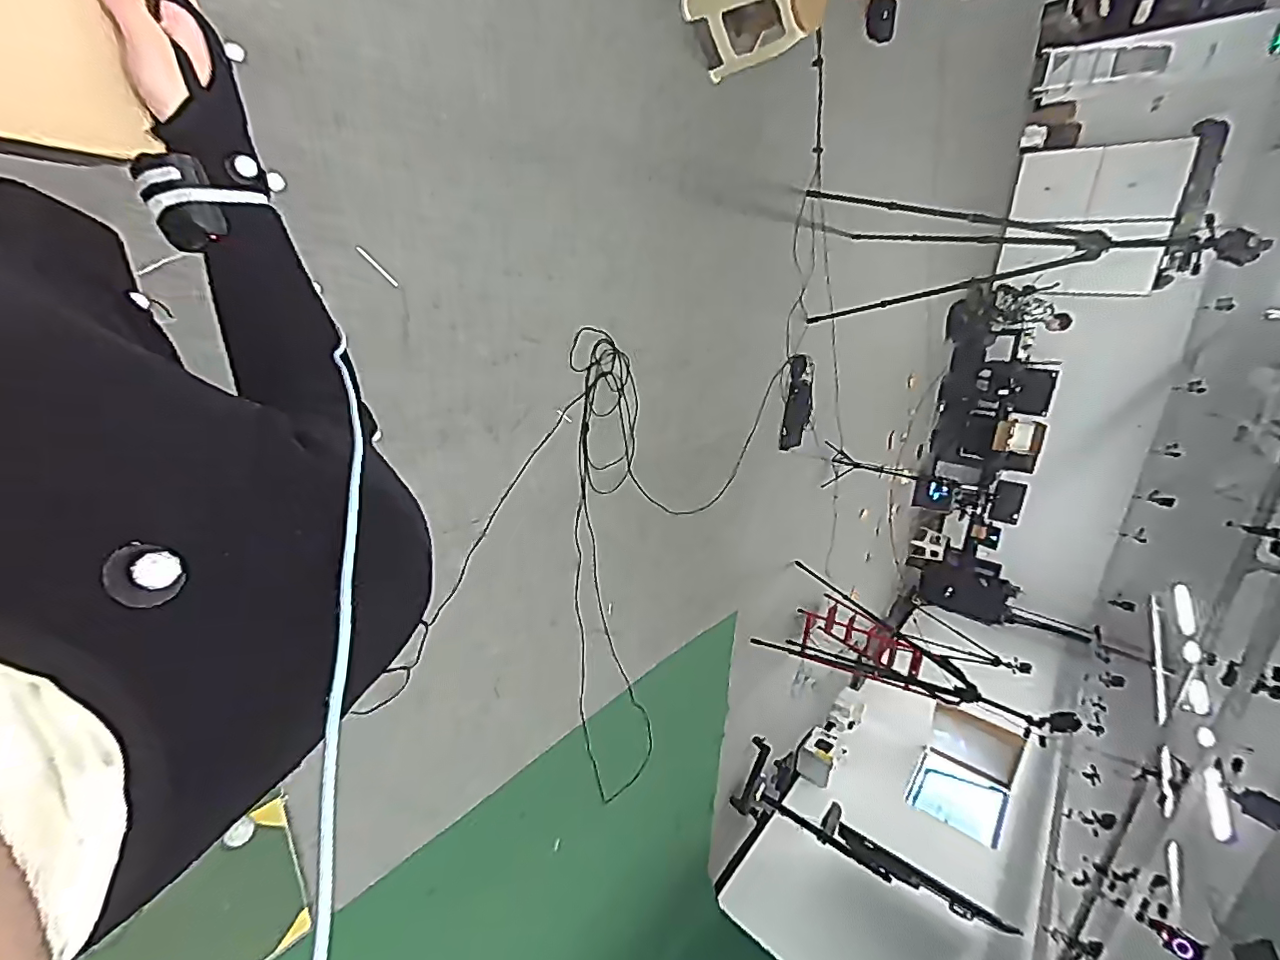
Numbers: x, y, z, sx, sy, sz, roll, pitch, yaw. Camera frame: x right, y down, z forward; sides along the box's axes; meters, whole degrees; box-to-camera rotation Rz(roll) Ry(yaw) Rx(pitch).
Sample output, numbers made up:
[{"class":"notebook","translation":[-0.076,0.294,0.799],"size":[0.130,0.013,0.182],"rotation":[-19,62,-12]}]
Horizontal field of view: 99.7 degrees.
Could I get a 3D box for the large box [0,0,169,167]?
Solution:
[{"class":"large box","translation":[-0.612,-0.406,0.329],"size":[0.408,0.320,0.320],"rotation":[-18,123,-48]}]
